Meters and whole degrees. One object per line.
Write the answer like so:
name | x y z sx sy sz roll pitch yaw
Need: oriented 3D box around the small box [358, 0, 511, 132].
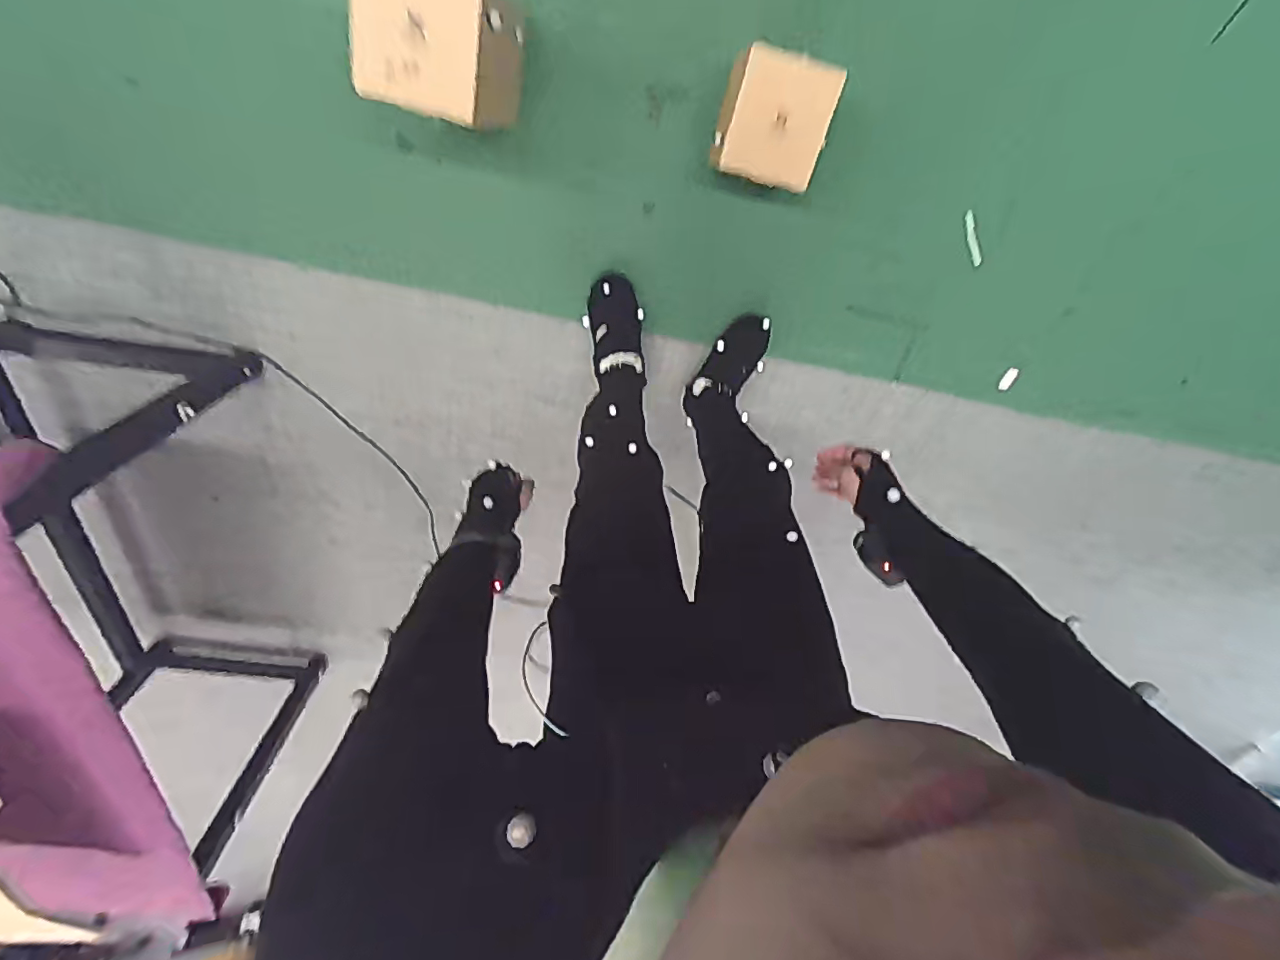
small box | -0.291 -0.631 0.788 0.168 0.176 0.179 13 121 -7

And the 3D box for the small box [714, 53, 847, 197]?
small box | 0.240 -0.637 0.981 0.168 0.176 0.179 11 122 -7
